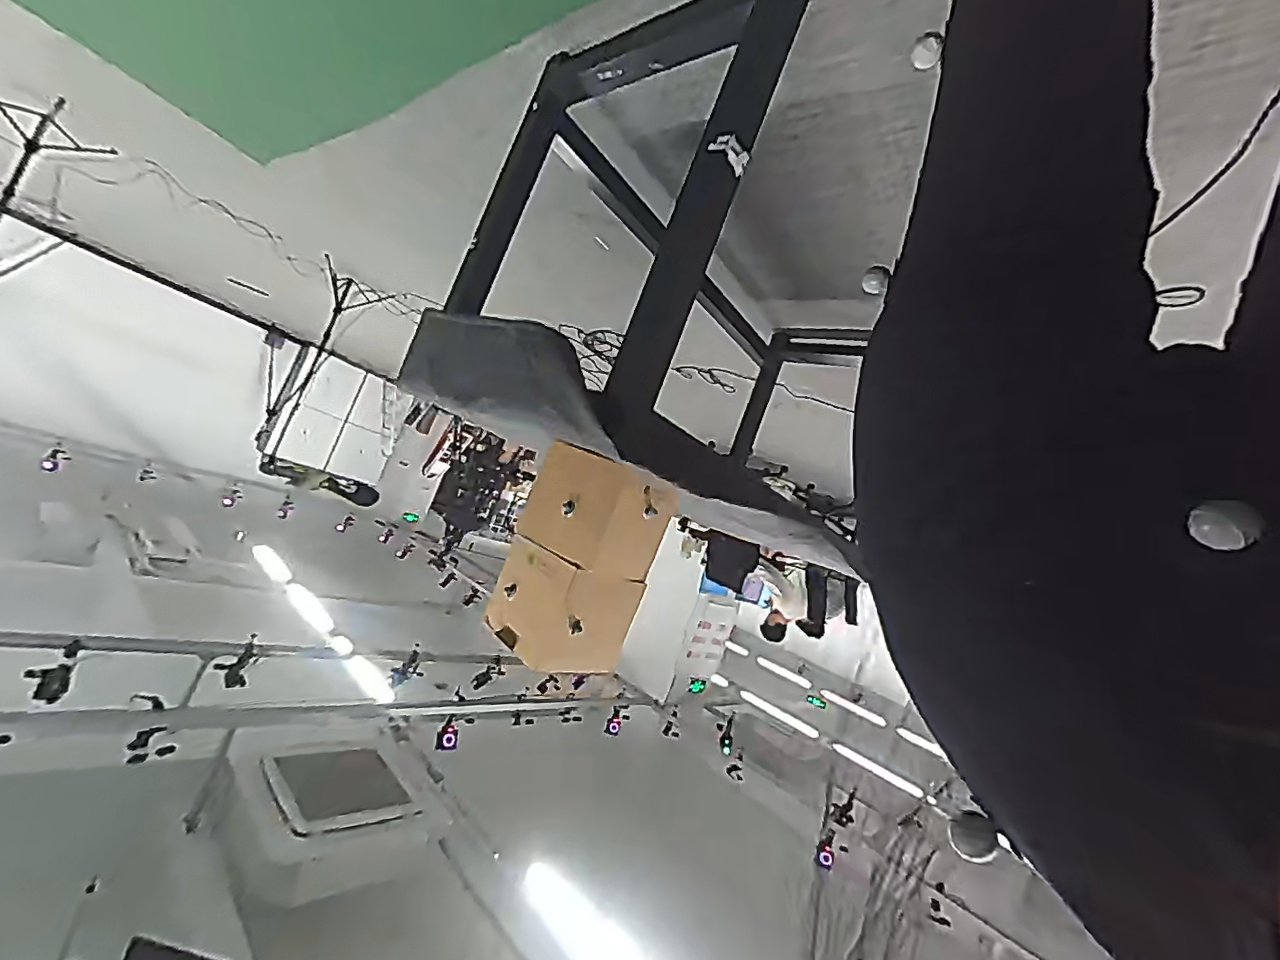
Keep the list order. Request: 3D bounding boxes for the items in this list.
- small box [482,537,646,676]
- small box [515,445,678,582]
[{"bbox_3d":[-0.122,0.205,0.895,0.168,0.176,0.179,22,179,43],"label":"small box"},{"bbox_3d":[-0.066,0.052,0.895,0.179,0.176,0.168,20,177,35],"label":"small box"}]
